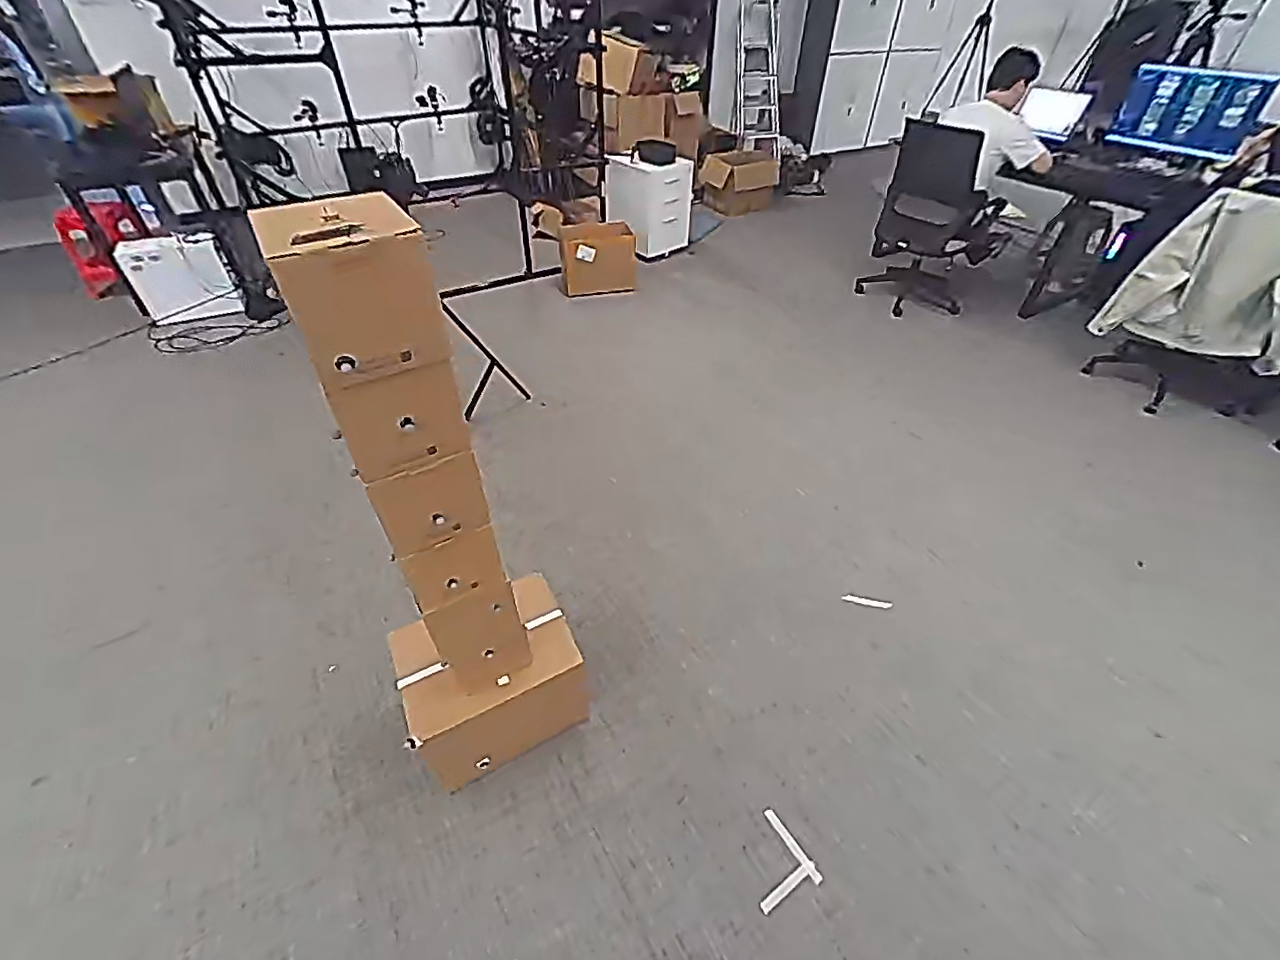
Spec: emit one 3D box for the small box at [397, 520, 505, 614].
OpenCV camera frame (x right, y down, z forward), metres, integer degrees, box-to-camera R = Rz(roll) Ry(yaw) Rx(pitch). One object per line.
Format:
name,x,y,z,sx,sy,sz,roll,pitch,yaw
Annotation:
small box,-0.374,0.121,1.038,0.168,0.176,0.179,-22,48,-23

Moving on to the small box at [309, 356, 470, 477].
small box,-0.375,-0.124,0.819,0.168,0.176,0.179,-23,49,-24

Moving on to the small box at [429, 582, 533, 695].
small box,-0.364,0.364,1.256,0.179,0.176,0.168,-22,48,-24

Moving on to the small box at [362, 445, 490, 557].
small box,-0.375,-0.001,0.928,0.168,0.176,0.179,-23,49,-23

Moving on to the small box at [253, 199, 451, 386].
small box,-0.364,-0.240,0.701,0.168,0.176,0.179,-24,48,-24
